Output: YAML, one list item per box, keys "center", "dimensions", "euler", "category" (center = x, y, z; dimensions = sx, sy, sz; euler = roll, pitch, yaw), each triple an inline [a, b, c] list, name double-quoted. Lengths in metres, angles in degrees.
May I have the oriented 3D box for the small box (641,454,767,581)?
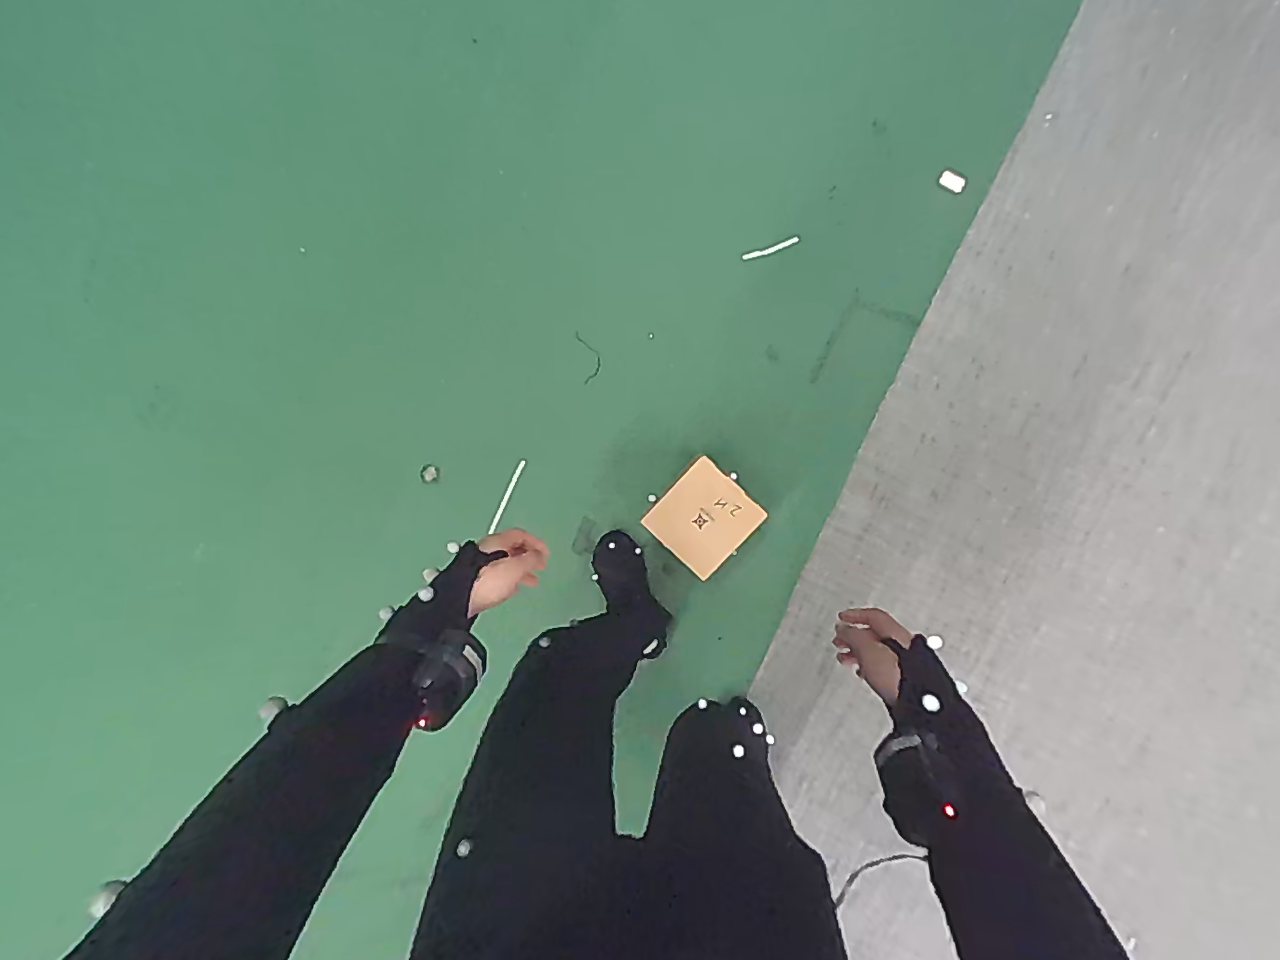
- center: [0.123, 0.066, 1.068]
  dimensions: [0.168, 0.176, 0.179]
  euler: [43, 95, -1]
  category: "small box"
